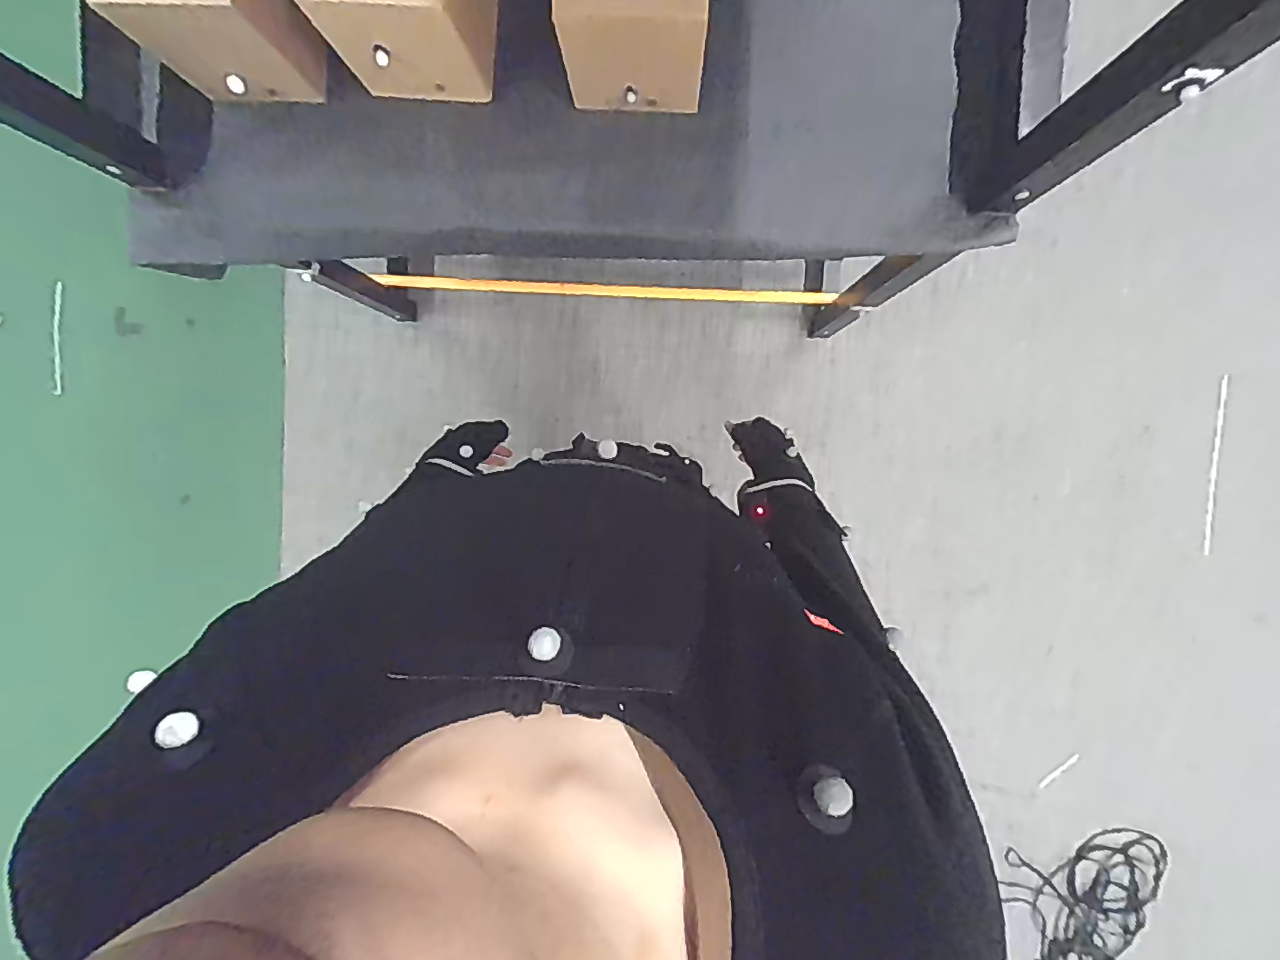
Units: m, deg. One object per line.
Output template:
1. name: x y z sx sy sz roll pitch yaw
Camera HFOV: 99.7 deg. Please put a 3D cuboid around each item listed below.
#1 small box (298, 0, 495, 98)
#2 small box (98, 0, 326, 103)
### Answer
1. small box: -0.280 -0.600 0.651 0.168 0.176 0.179 4 93 1
2. small box: -0.507 -0.604 0.656 0.168 0.176 0.179 3 94 2
